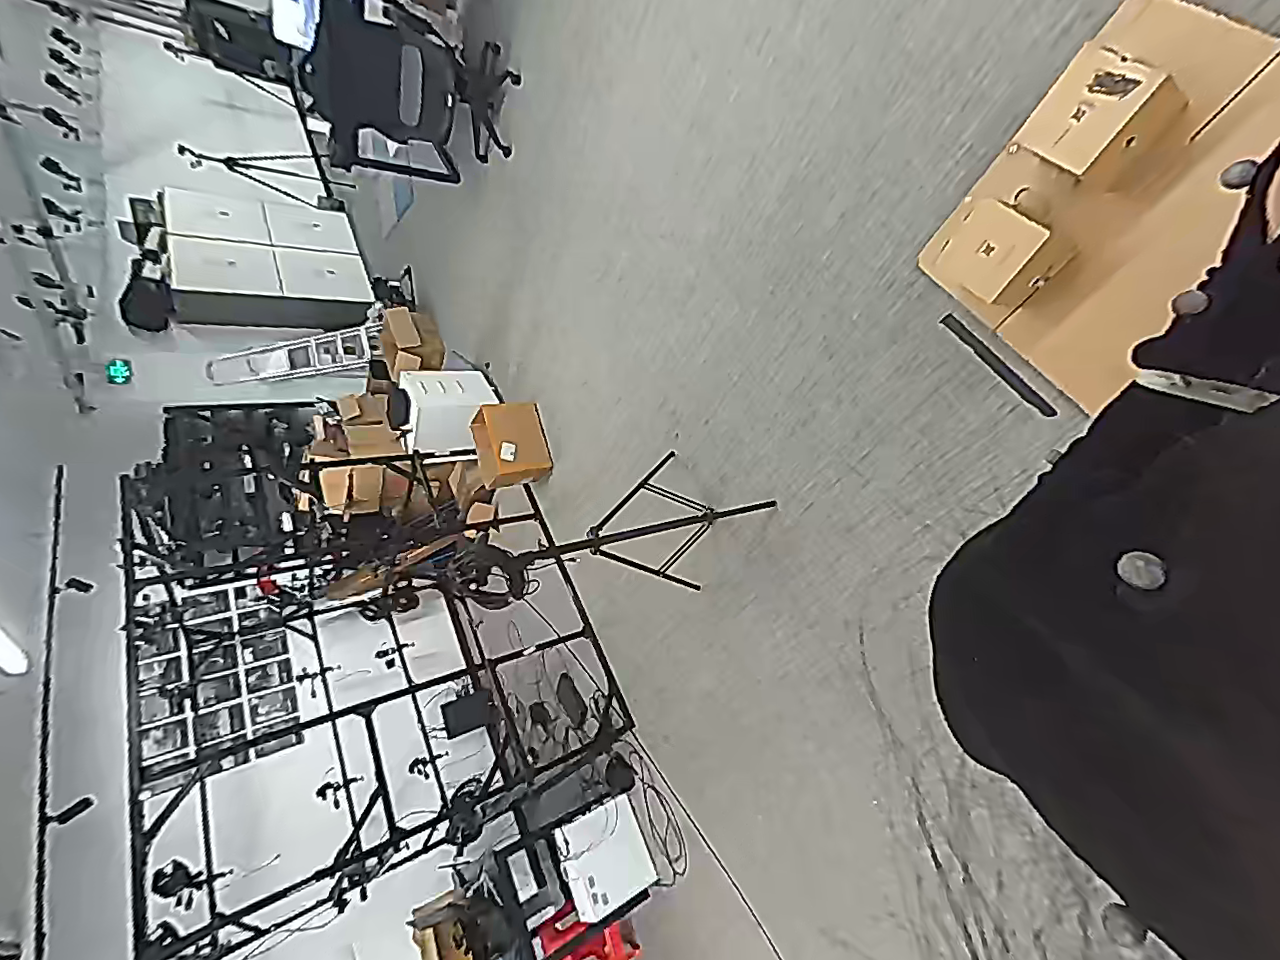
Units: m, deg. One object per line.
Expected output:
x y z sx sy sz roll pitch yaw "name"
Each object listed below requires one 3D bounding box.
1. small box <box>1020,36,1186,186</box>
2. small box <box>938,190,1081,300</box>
0.904 -0.710 1.055 0.168 0.176 0.179 57 138 29 "small box"
0.824 -0.517 1.211 0.179 0.176 0.168 55 138 30 "small box"
